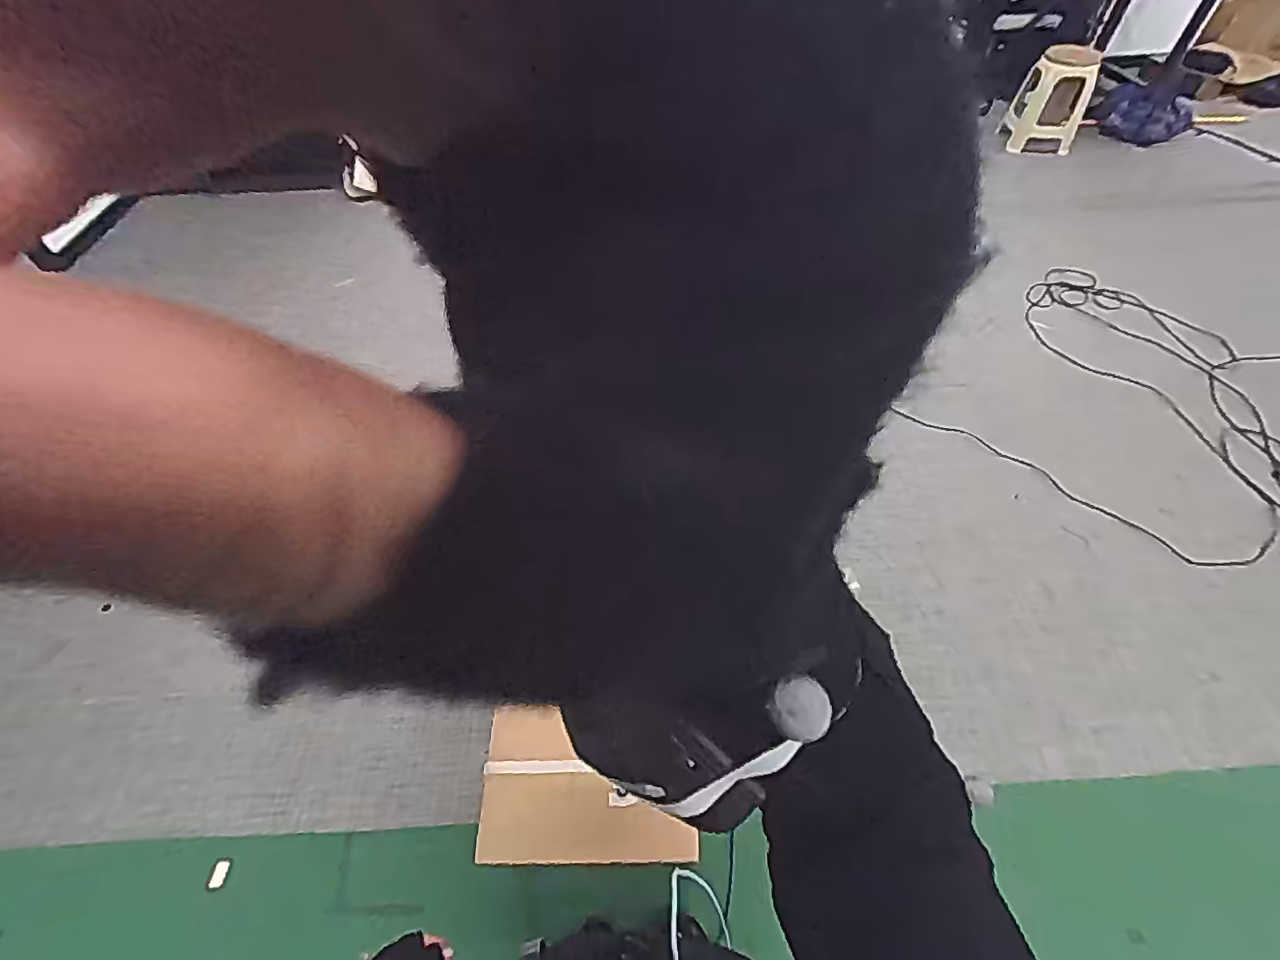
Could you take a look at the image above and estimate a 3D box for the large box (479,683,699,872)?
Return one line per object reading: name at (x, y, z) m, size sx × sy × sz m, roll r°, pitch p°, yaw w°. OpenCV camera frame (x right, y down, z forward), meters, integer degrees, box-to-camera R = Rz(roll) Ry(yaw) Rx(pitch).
large box at (-0.096, 0.650, 1.173) m, size 0.408 × 0.320 × 0.320 m, roll -1°, pitch 54°, yaw 0°
